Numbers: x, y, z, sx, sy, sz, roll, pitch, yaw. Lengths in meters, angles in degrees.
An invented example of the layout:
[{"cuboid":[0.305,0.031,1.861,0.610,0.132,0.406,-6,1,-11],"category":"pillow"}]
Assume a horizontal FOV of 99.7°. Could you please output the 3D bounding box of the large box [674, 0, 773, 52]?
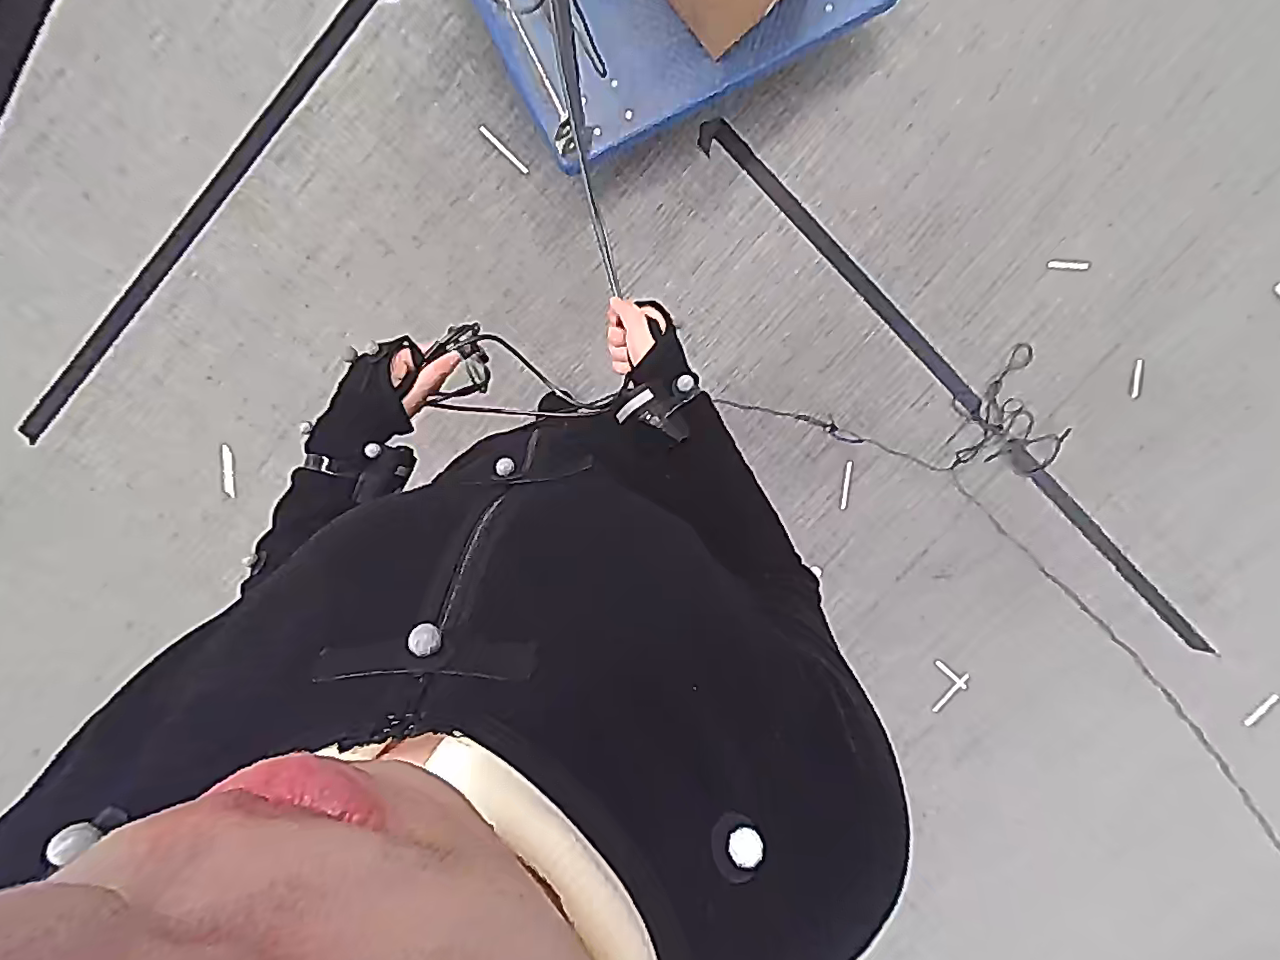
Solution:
[{"cuboid":[0.154,-1.144,0.990,0.320,0.320,0.408,-42,101,3],"category":"large box"}]
